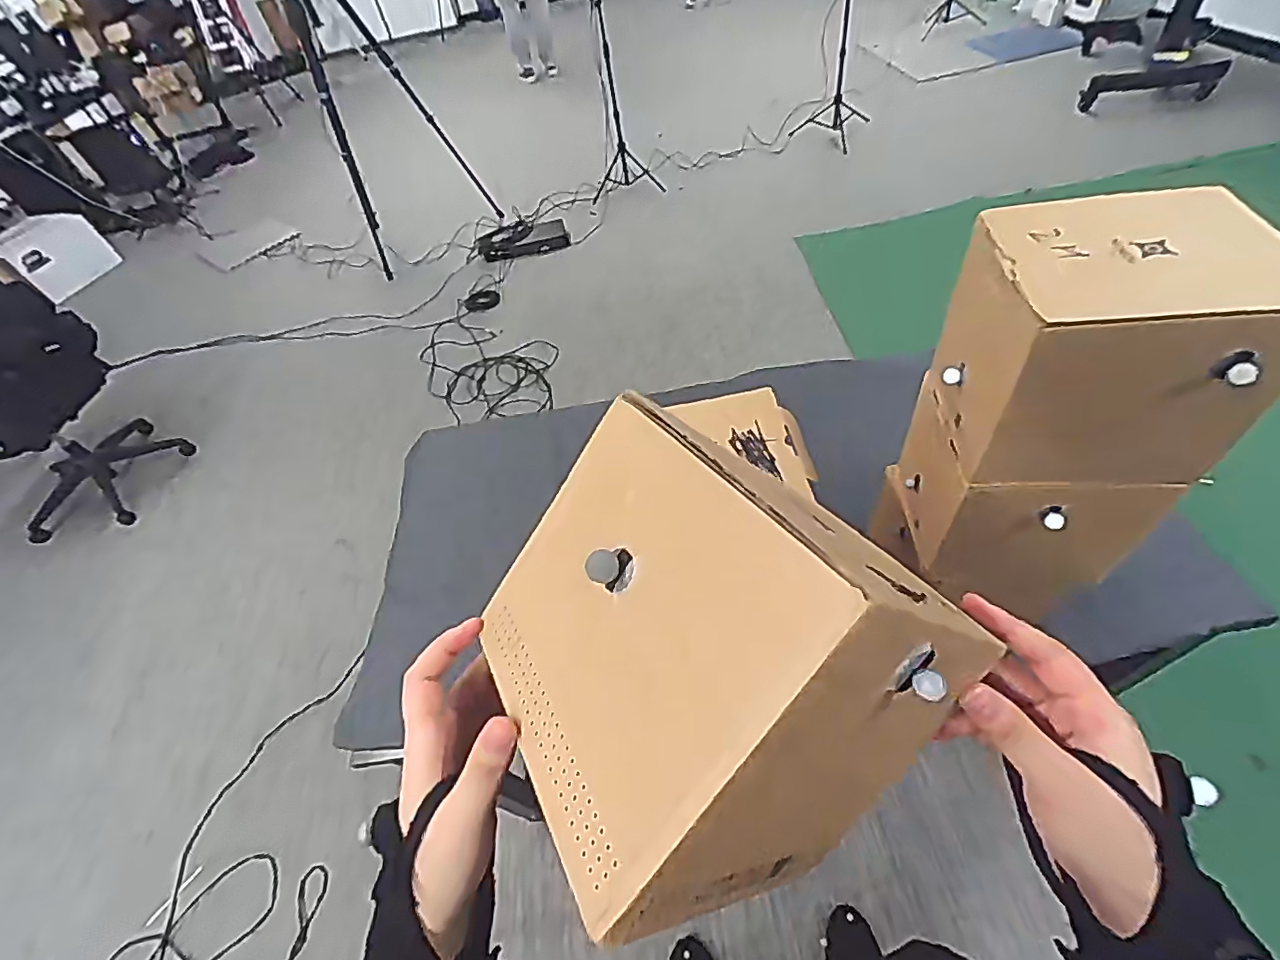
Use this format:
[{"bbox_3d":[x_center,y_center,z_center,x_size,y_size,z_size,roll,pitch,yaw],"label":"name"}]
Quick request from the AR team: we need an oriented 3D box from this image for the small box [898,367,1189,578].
[{"bbox_3d":[0.394,-0.008,0.572,0.179,0.176,0.168,-2,51,12],"label":"small box"}]

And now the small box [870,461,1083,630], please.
[{"bbox_3d":[0.419,0.083,0.706,0.168,0.176,0.179,-10,50,5],"label":"small box"}]

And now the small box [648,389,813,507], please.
[{"bbox_3d":[0.078,0.026,0.606,0.179,0.176,0.168,-10,50,4],"label":"small box"}]

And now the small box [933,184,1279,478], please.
[{"bbox_3d":[0.370,-0.114,0.448,0.179,0.176,0.168,-1,51,13],"label":"small box"}]

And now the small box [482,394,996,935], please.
[{"bbox_3d":[0.038,0.085,0.295,0.176,0.168,0.179,-57,42,12],"label":"small box"}]
